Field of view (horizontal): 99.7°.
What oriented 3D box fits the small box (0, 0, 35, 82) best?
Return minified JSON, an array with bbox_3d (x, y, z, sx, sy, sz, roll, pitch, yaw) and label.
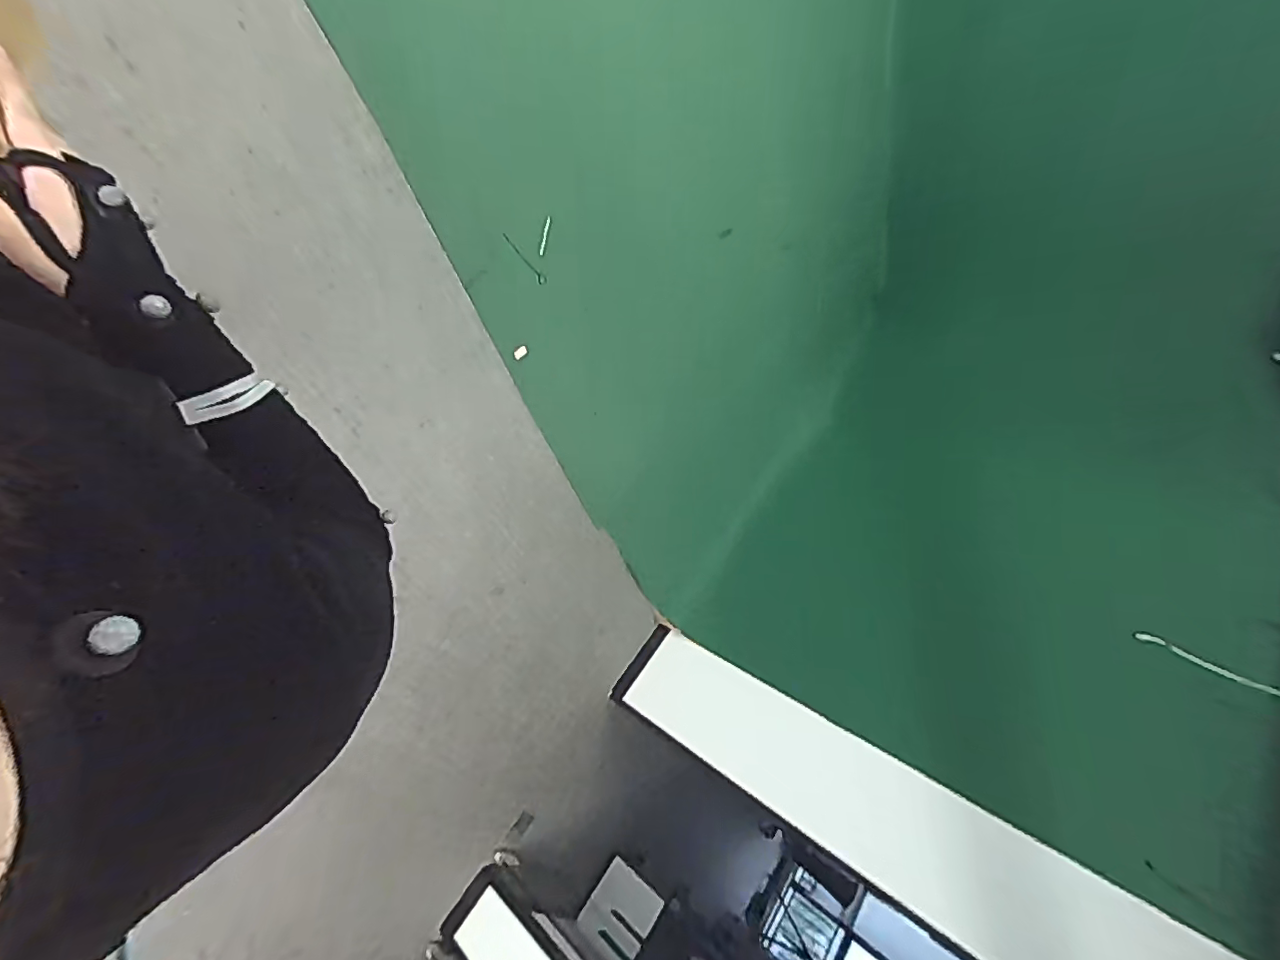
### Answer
[{"bbox_3d":[-0.475,-0.291,0.267,0.179,0.176,0.168,-12,153,-17],"label":"small box"}]
